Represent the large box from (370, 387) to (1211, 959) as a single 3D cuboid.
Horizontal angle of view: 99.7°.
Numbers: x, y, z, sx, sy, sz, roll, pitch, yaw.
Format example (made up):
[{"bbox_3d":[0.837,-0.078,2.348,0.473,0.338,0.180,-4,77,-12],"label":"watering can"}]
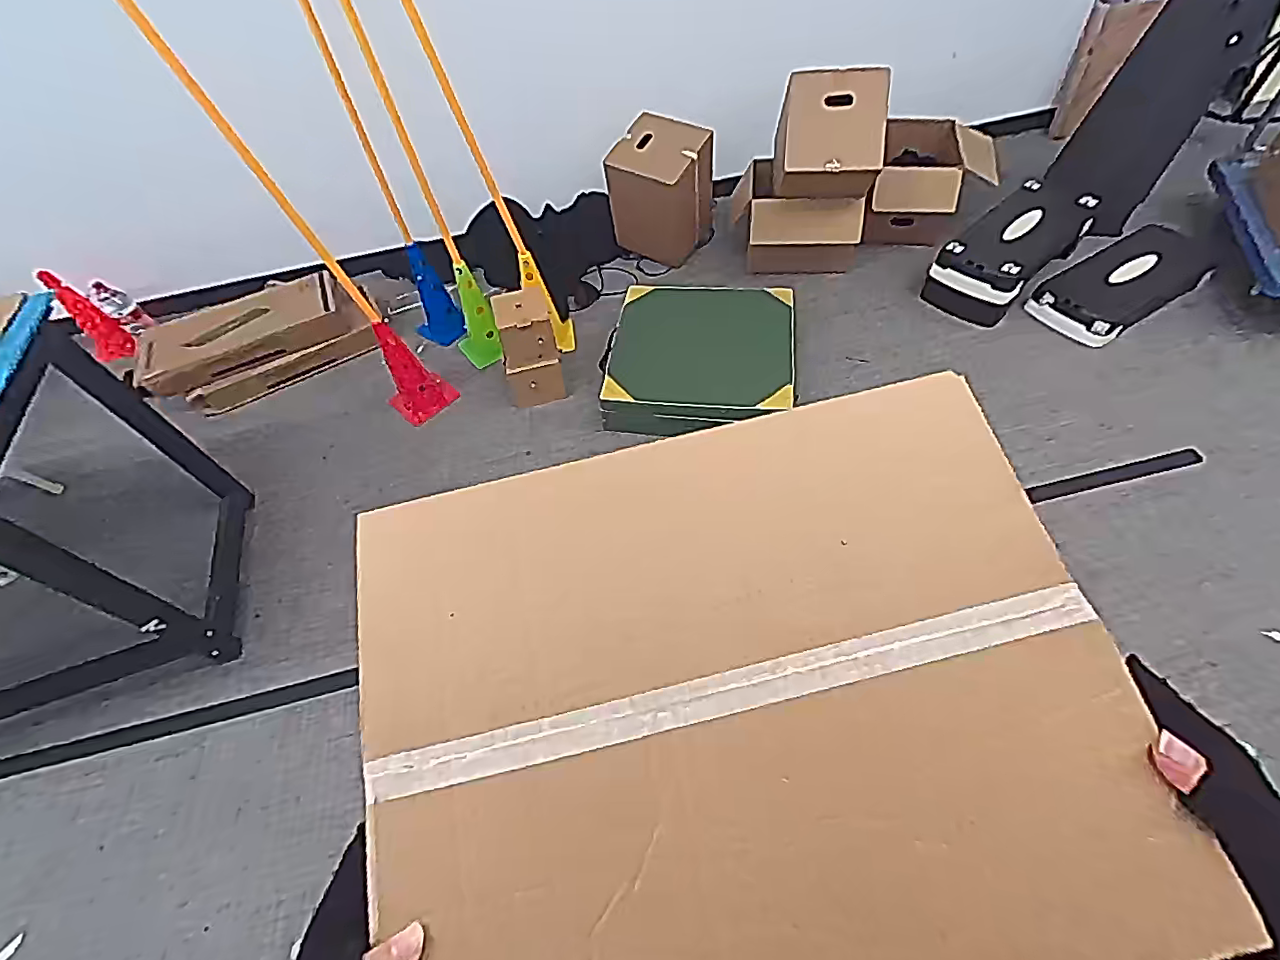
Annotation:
[{"bbox_3d":[0.060,0.174,0.444,0.408,0.320,0.320,-14,67,0],"label":"large box"}]
